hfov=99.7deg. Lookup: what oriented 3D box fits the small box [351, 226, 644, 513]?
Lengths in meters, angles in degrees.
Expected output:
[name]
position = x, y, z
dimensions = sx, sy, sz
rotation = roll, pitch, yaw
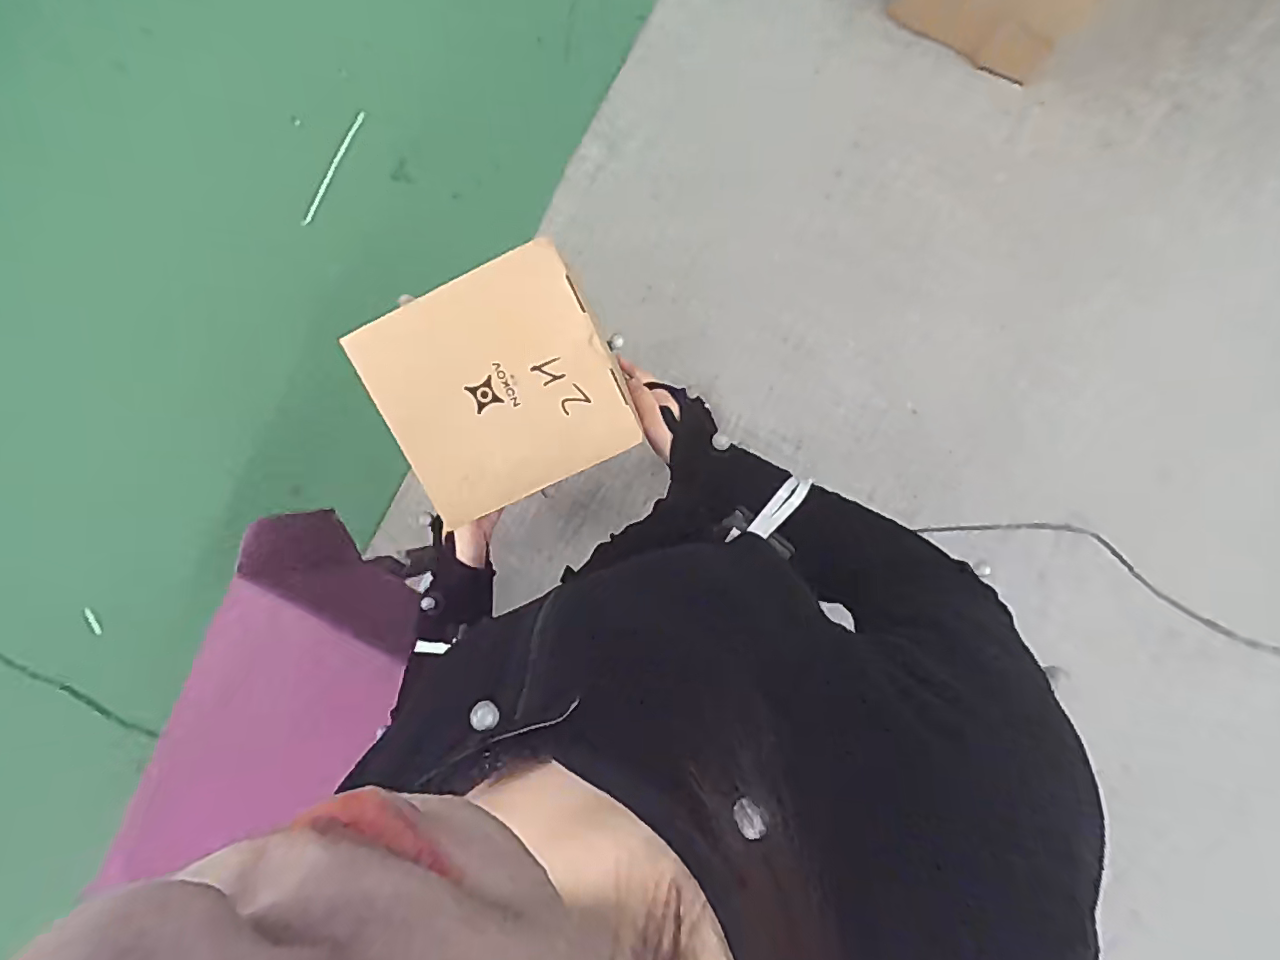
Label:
[small box]
position = -0.103, -0.093, 0.481
dimensions = 0.179, 0.176, 0.168
rotation = -22, 103, 5
